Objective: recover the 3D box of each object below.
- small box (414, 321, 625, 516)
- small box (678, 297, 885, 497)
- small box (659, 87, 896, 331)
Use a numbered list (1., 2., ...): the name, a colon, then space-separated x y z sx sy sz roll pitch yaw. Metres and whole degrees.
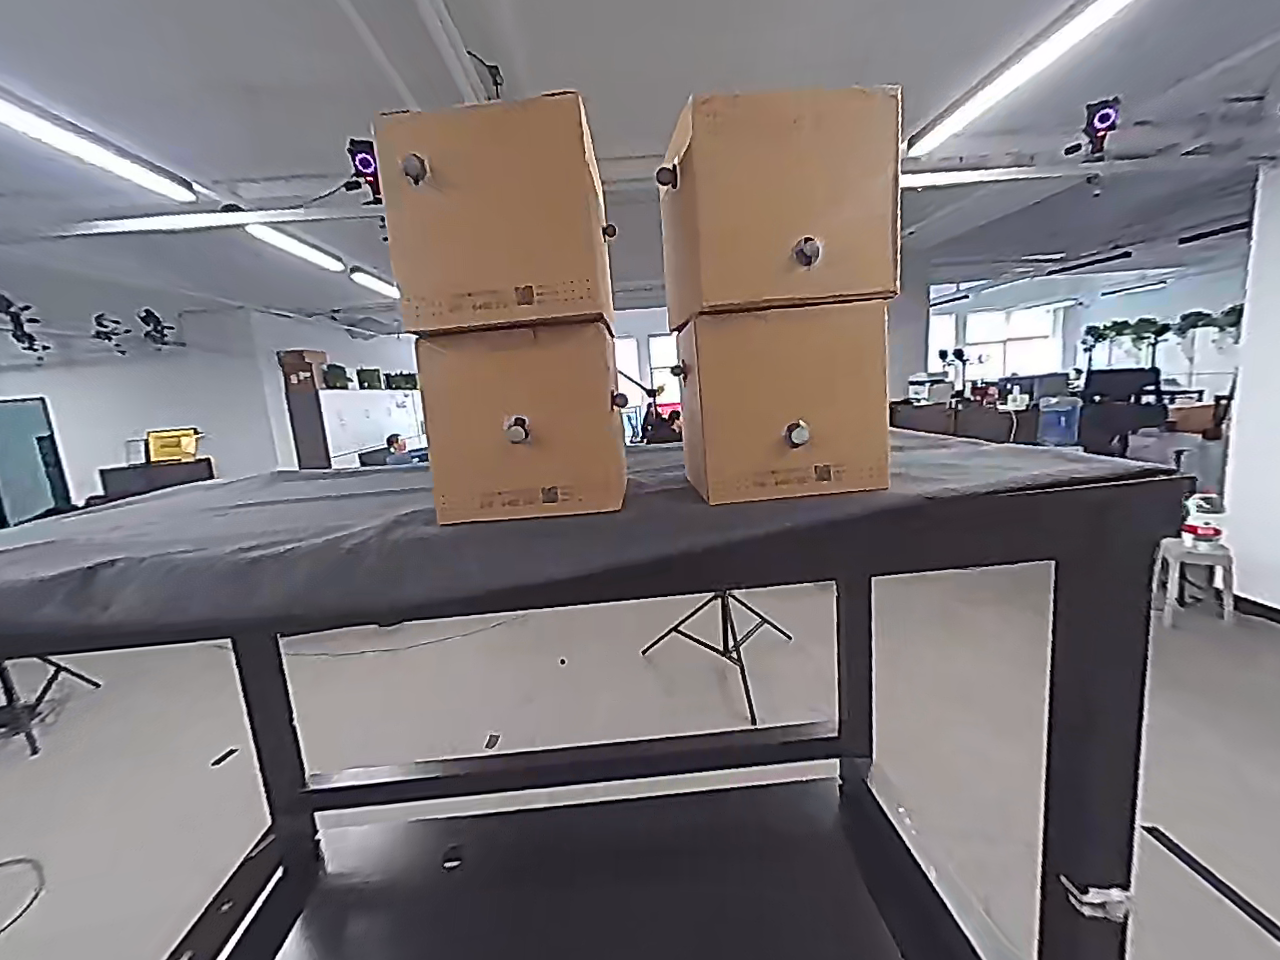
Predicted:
1. small box: -0.104 -0.060 0.552 0.168 0.176 0.179 -4 9 1
2. small box: 0.132 -0.081 0.555 0.168 0.176 0.179 -6 9 -1
3. small box: 0.119 -0.243 0.517 0.179 0.176 0.168 -5 9 -6
